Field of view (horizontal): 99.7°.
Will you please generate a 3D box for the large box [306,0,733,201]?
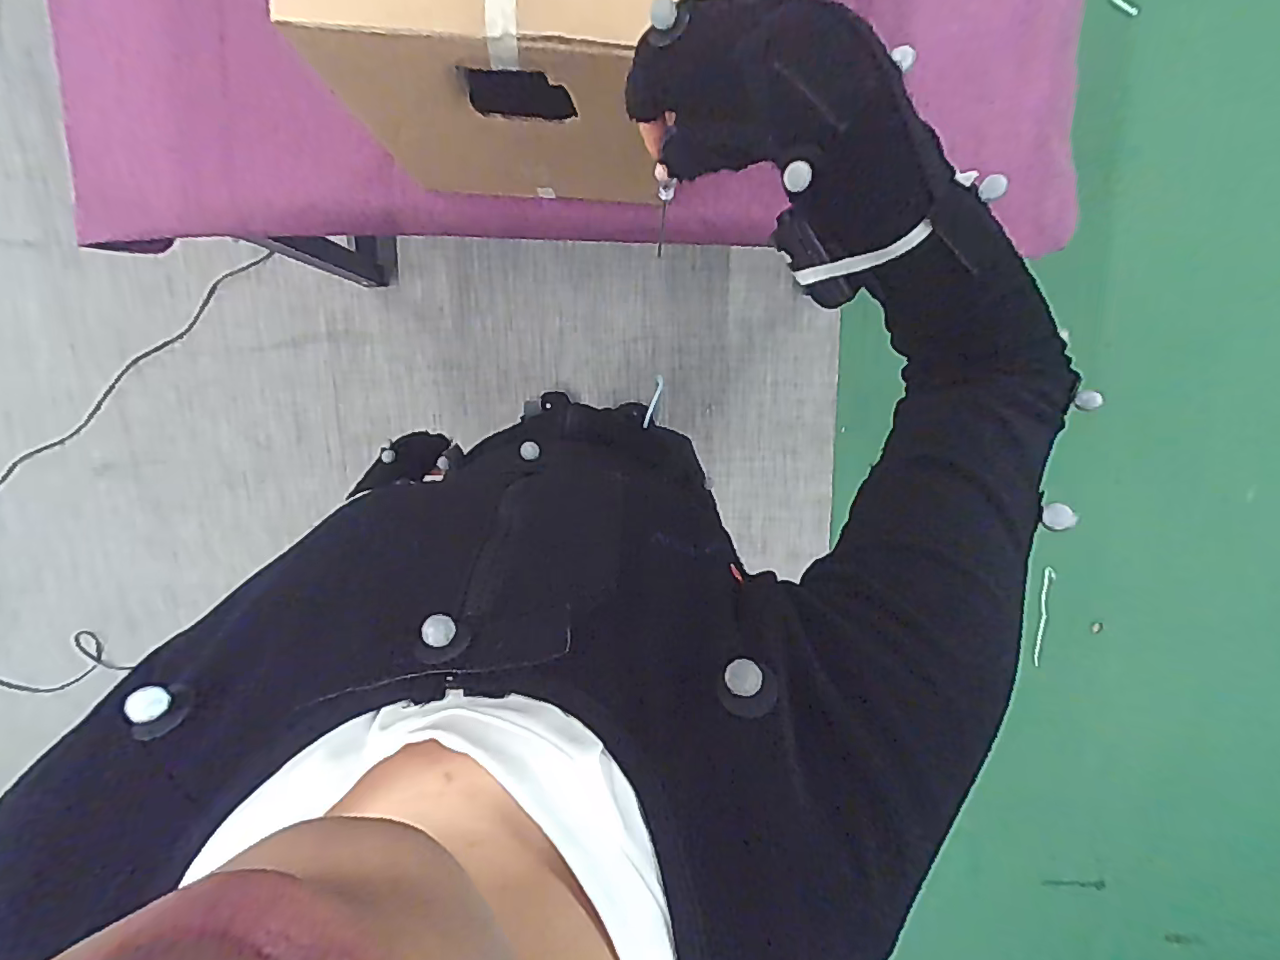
[{"bbox_3d":[-0.089,-0.535,0.510,0.320,0.320,0.408,3,100,-4],"label":"large box"}]
